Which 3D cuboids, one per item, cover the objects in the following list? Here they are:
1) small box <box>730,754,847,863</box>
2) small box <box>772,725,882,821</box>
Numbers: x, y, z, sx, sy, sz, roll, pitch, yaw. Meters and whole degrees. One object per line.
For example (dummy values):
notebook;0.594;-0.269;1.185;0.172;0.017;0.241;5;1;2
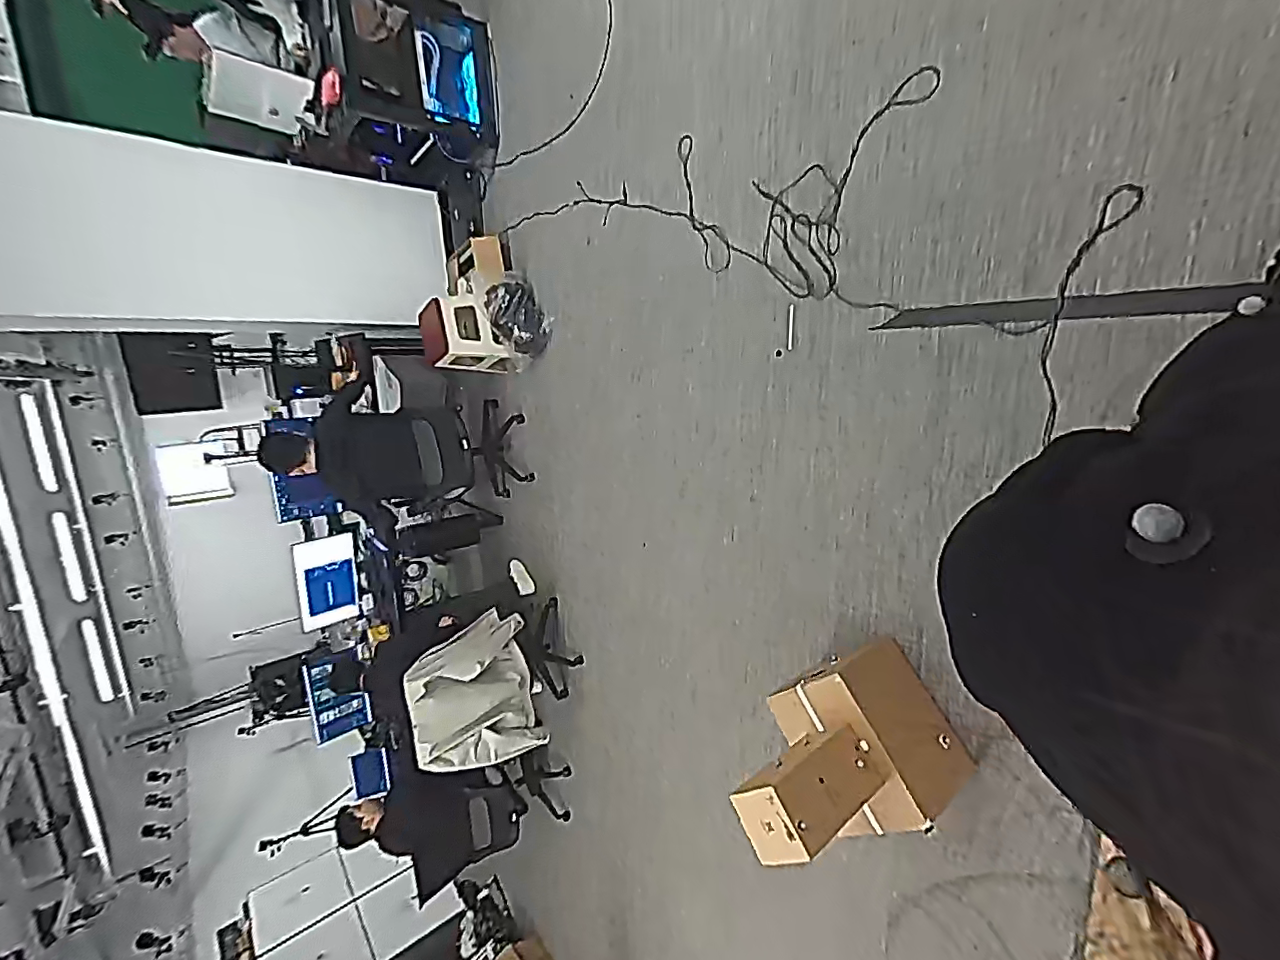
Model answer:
small box;0.361;0.797;1.315;0.179;0.176;0.168;-50;61;45
small box;0.490;0.770;1.415;0.179;0.176;0.168;-49;61;44
